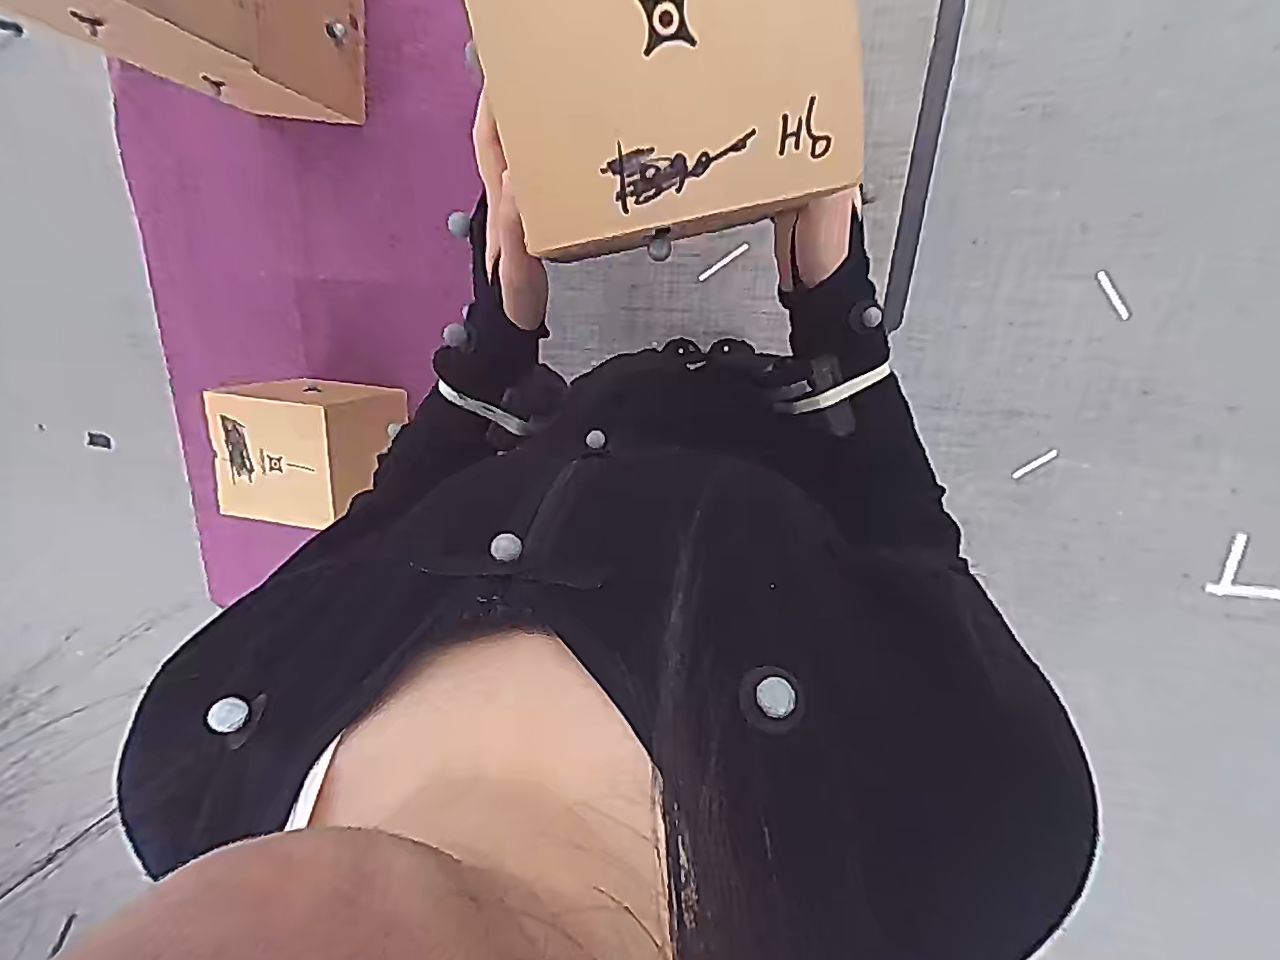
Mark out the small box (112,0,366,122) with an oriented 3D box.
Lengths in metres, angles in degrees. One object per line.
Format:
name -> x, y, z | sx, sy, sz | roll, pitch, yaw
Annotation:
small box -> -0.445, -0.532, 0.614 | 0.179, 0.176, 0.168 | 12, 109, 9

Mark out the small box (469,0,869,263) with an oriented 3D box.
small box -> 0.007, -0.228, 0.298 | 0.168, 0.176, 0.179 | -11, 110, 2

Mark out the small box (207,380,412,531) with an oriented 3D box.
small box -> -0.447, -0.045, 0.756 | 0.179, 0.176, 0.168 | 8, 107, 9
